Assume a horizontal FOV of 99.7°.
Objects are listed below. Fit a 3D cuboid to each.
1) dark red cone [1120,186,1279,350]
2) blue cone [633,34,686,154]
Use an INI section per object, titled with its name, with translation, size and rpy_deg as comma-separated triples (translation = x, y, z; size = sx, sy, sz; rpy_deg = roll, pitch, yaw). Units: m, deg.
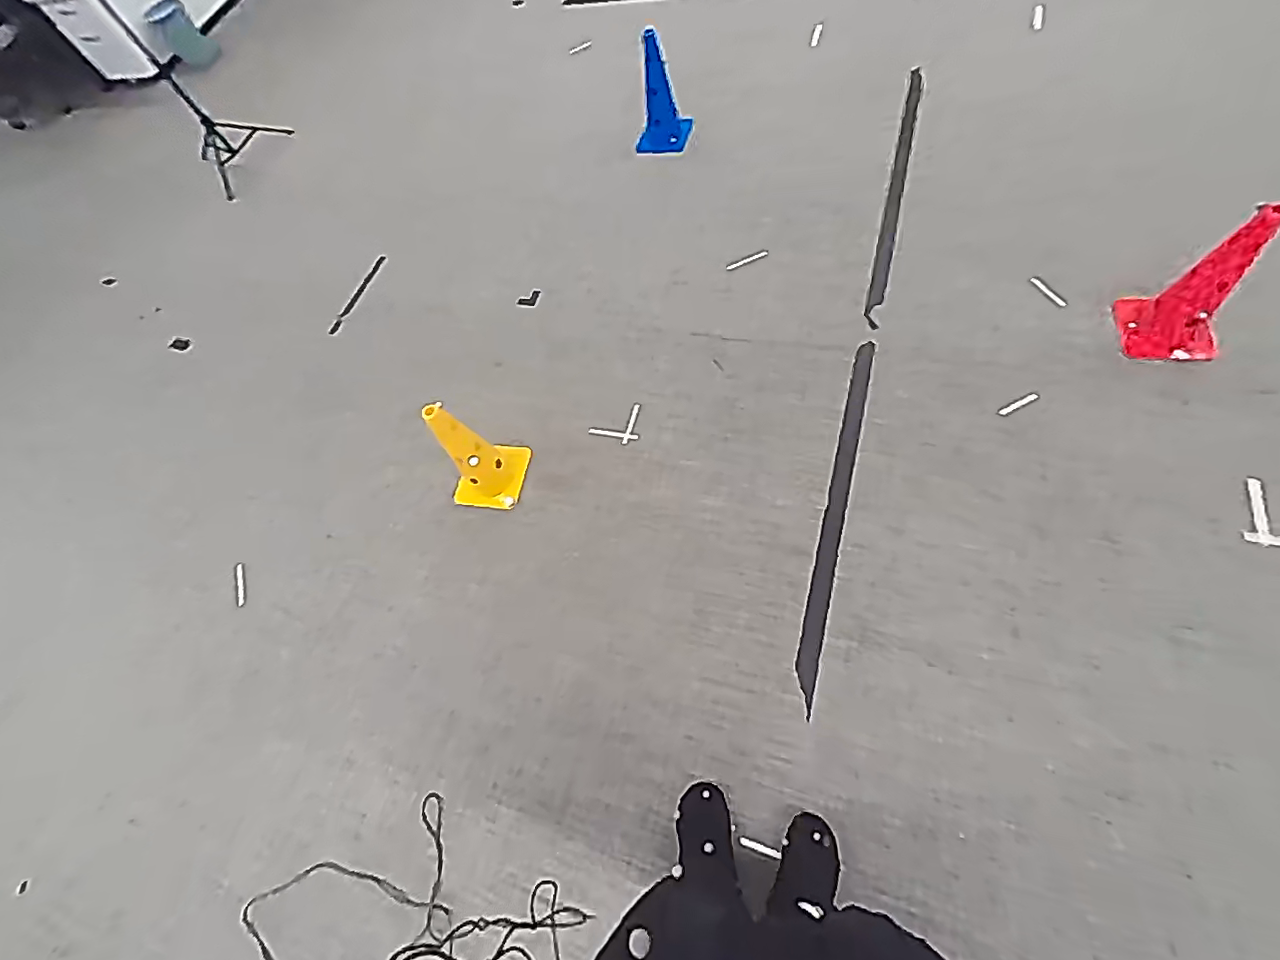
[dark red cone]
translation = 1.308, -0.484, 1.220
size = 0.201, 0.394, 0.202
rpy_deg = 3, 65, 15
[blue cone]
translation = 0.044, -1.430, 2.000
size = 0.192, 0.380, 0.193
rpy_deg = 11, 67, 19
